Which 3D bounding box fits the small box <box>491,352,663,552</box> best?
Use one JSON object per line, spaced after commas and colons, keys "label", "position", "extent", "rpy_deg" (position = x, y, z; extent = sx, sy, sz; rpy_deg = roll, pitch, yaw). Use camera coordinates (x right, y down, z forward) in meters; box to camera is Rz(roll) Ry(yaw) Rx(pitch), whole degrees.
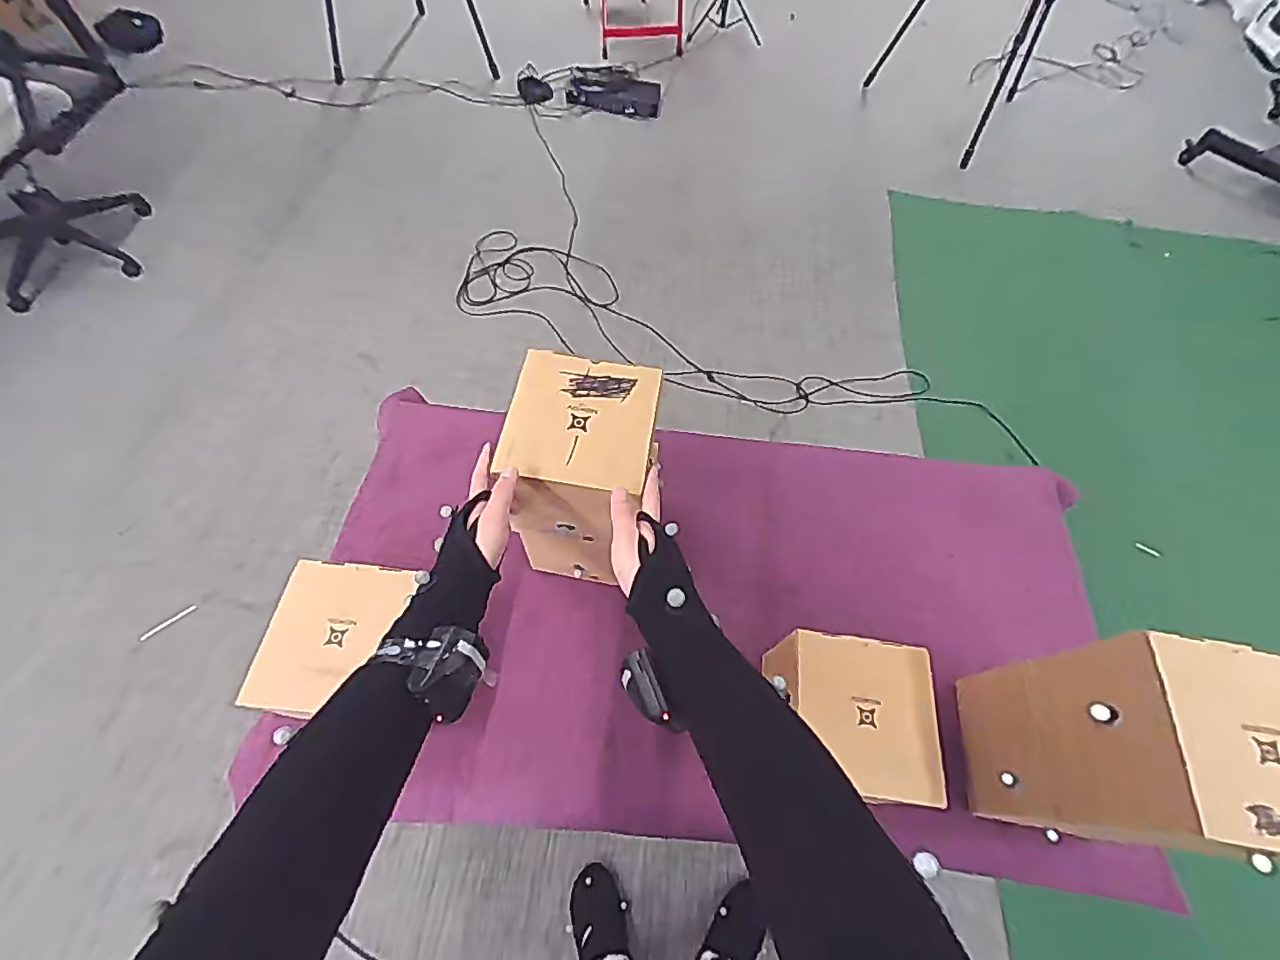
{"label": "small box", "position": [-0.071, -0.029, 0.681], "extent": [0.168, 0.176, 0.179], "rpy_deg": [10, 63, 2]}

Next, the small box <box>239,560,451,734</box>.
{"label": "small box", "position": [-0.363, 0.224, 0.710], "extent": [0.168, 0.176, 0.179], "rpy_deg": [6, 60, 0]}

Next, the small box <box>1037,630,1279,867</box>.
{"label": "small box", "position": [0.547, 0.273, 0.548], "extent": [0.168, 0.176, 0.179], "rpy_deg": [9, 60, 3]}

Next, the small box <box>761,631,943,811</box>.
{"label": "small box", "position": [0.258, 0.314, 0.700], "extent": [0.168, 0.176, 0.179], "rpy_deg": [8, 59, 1]}

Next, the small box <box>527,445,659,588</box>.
{"label": "small box", "position": [-0.072, 0.046, 0.826], "extent": [0.168, 0.176, 0.179], "rpy_deg": [11, 62, 3]}
